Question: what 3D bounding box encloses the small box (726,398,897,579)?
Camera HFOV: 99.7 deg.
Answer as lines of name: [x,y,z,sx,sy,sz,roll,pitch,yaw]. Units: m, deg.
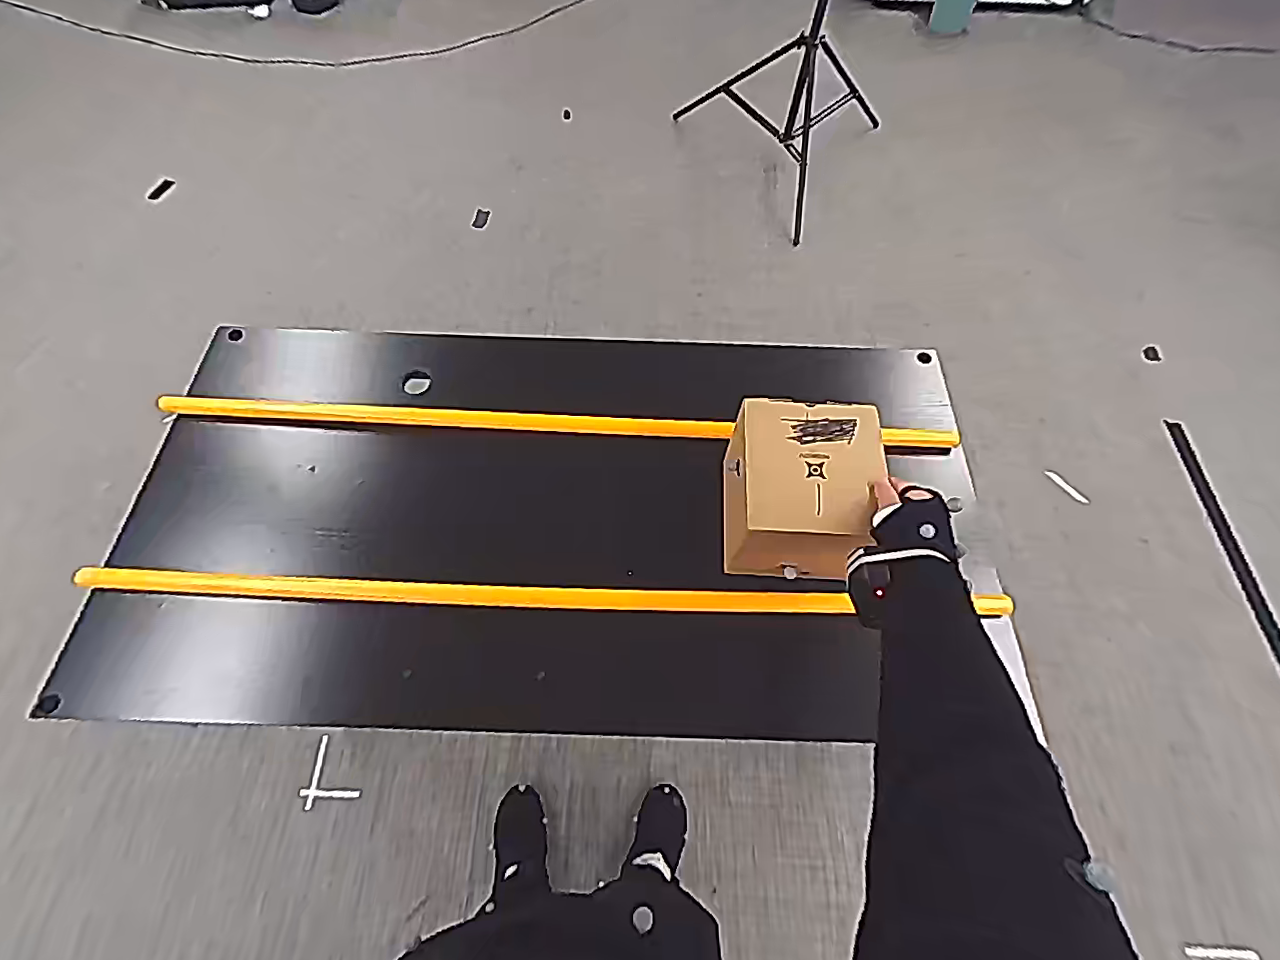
small box: [0.206,0.016,0.702,0.168,0.176,0.179,4,64,1]
